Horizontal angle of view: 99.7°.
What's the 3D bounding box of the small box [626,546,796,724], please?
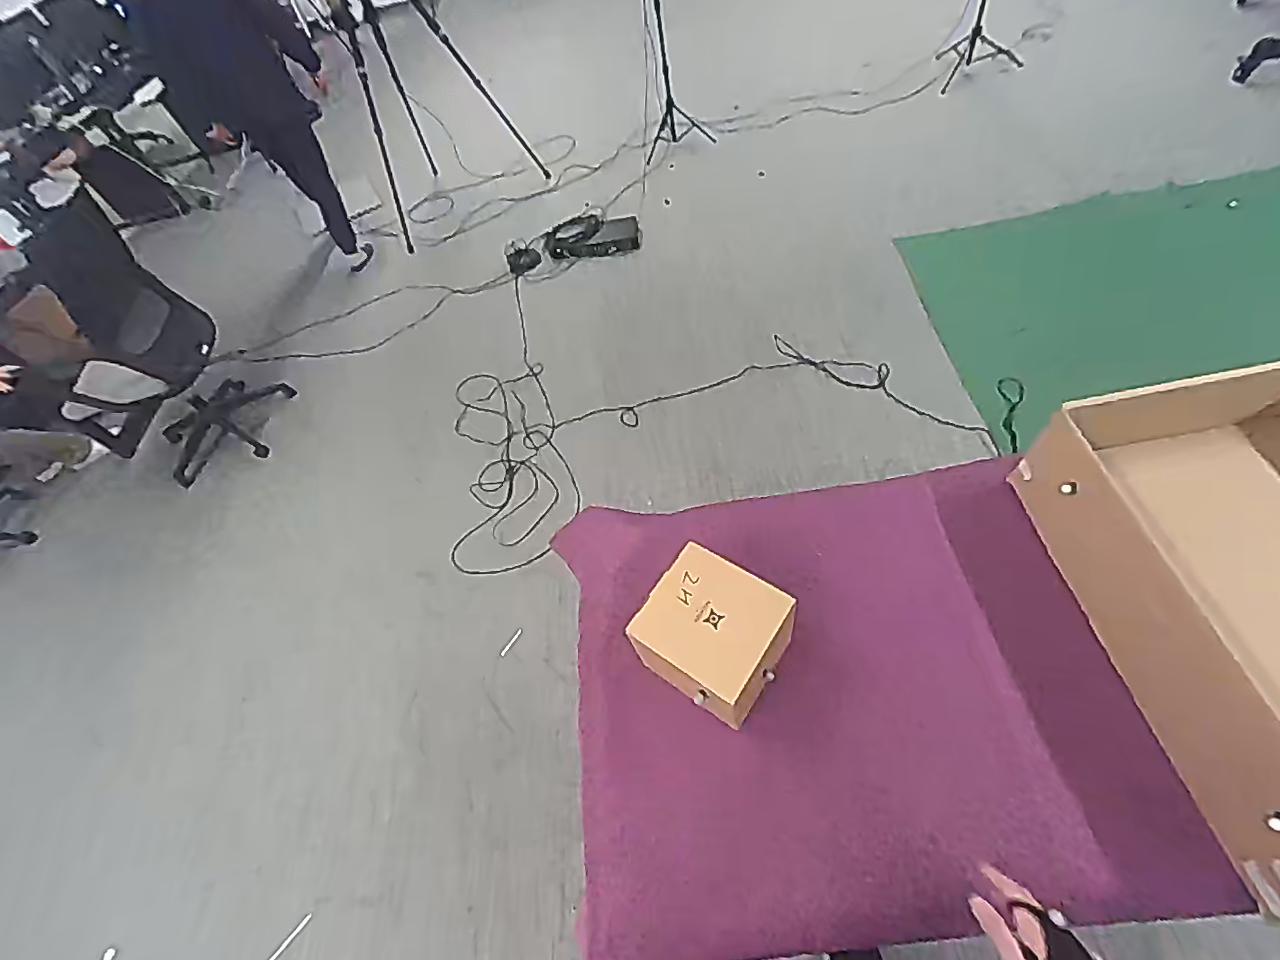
[{"bbox_3d":[0.108,0.233,0.797,0.179,0.176,0.168,28,65,27],"label":"small box"}]
